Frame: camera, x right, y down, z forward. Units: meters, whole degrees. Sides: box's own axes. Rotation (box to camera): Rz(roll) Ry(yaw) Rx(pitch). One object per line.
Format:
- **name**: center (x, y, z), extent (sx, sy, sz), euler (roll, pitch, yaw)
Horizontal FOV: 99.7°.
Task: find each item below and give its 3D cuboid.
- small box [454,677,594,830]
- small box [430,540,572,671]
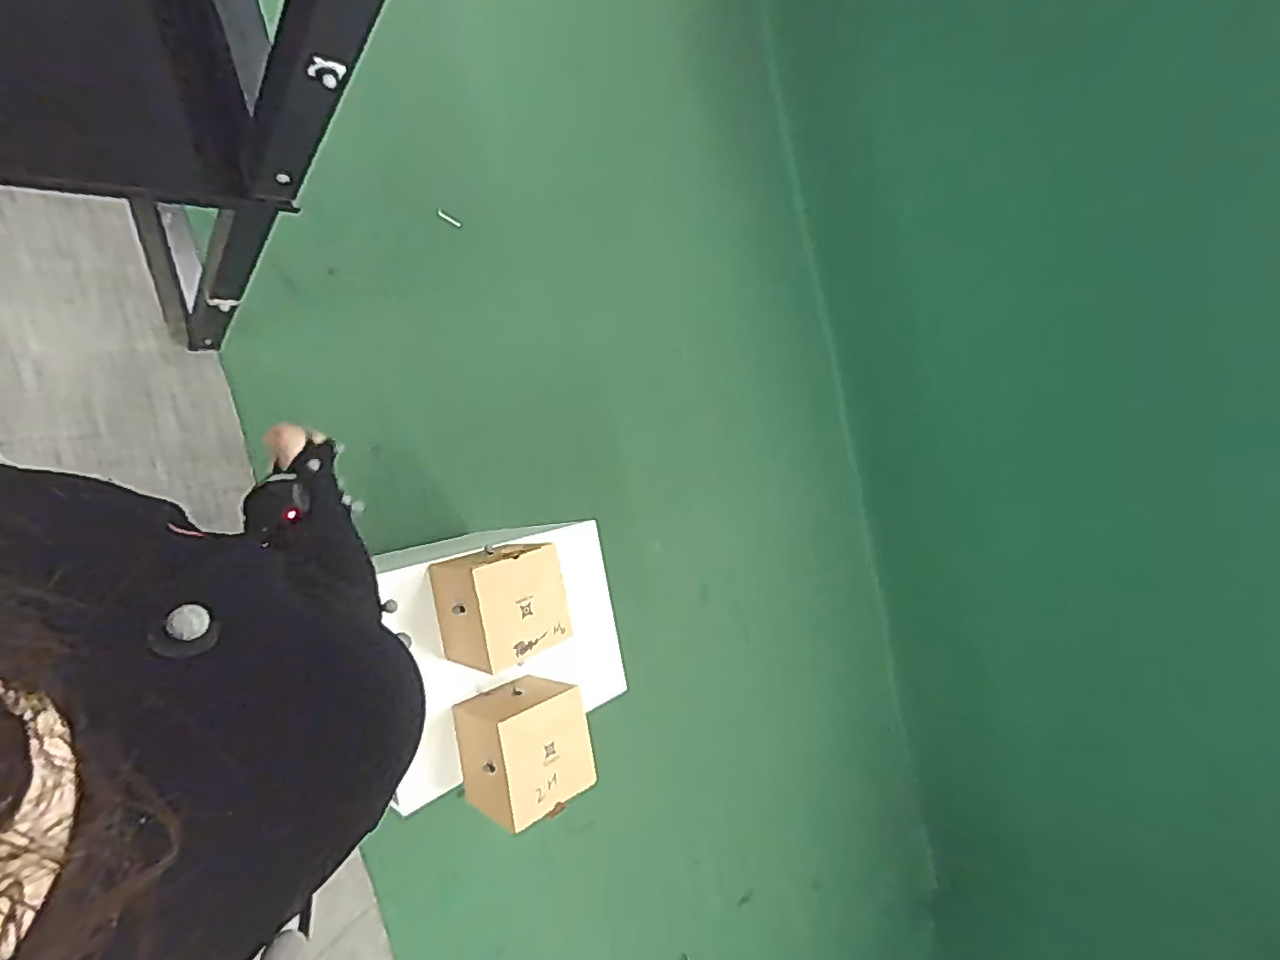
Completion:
- **small box**: center (-0.206, 0.457, 0.944), extent (0.168, 0.176, 0.179), euler (-9, 90, -44)
- **small box**: center (-0.247, 0.210, 0.945), extent (0.168, 0.176, 0.179), euler (-13, 93, -44)
